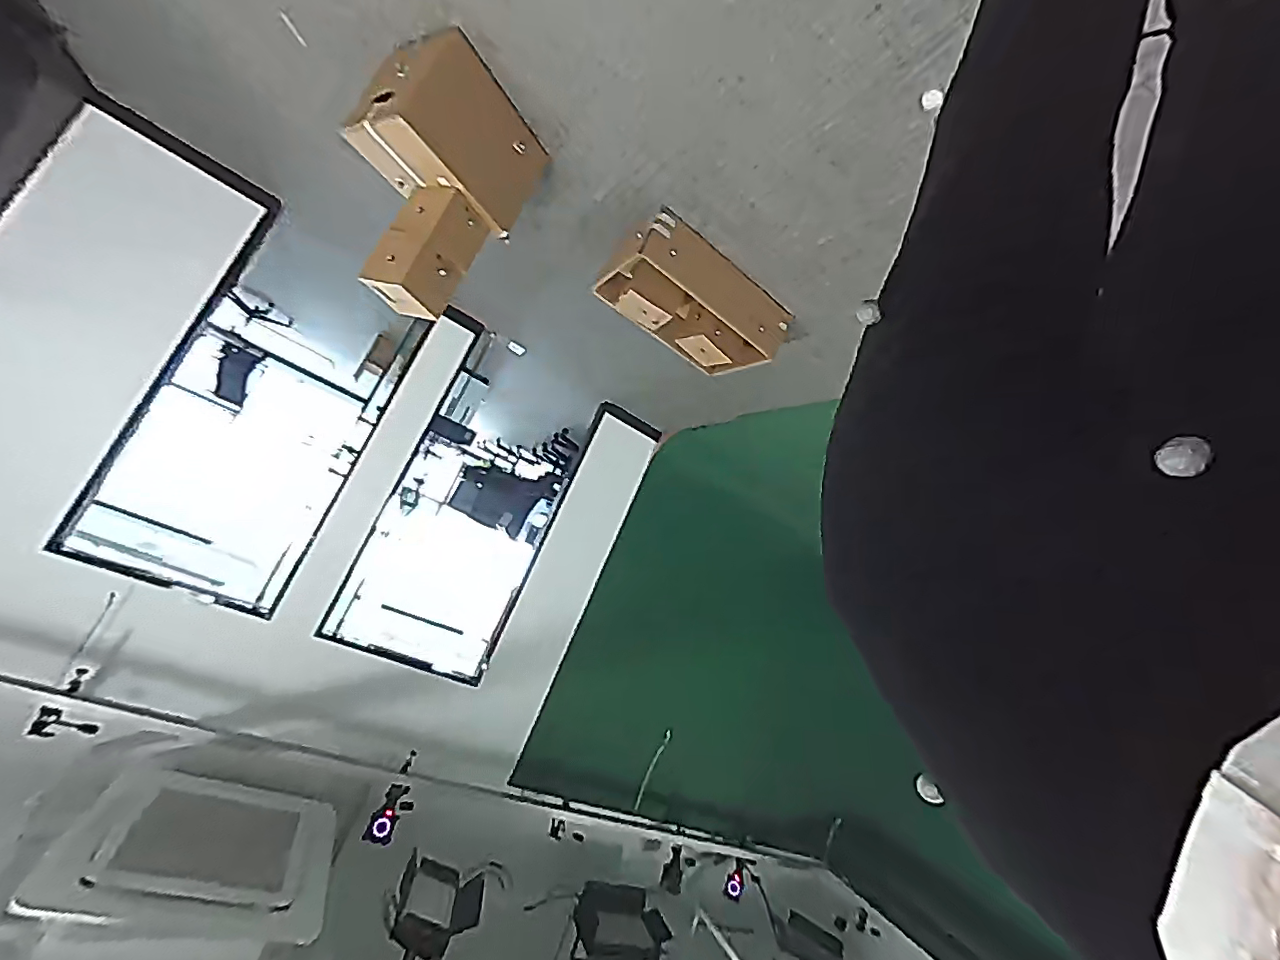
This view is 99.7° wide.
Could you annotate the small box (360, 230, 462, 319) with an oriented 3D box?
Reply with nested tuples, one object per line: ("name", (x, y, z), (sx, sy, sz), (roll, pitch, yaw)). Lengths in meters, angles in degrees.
("small box", (-0.653, -0.595, 1.561), (0.179, 0.176, 0.168), (17, 167, 24))

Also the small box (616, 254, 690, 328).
("small box", (0.046, -0.678, 1.926), (0.179, 0.176, 0.168), (28, 168, -20))
